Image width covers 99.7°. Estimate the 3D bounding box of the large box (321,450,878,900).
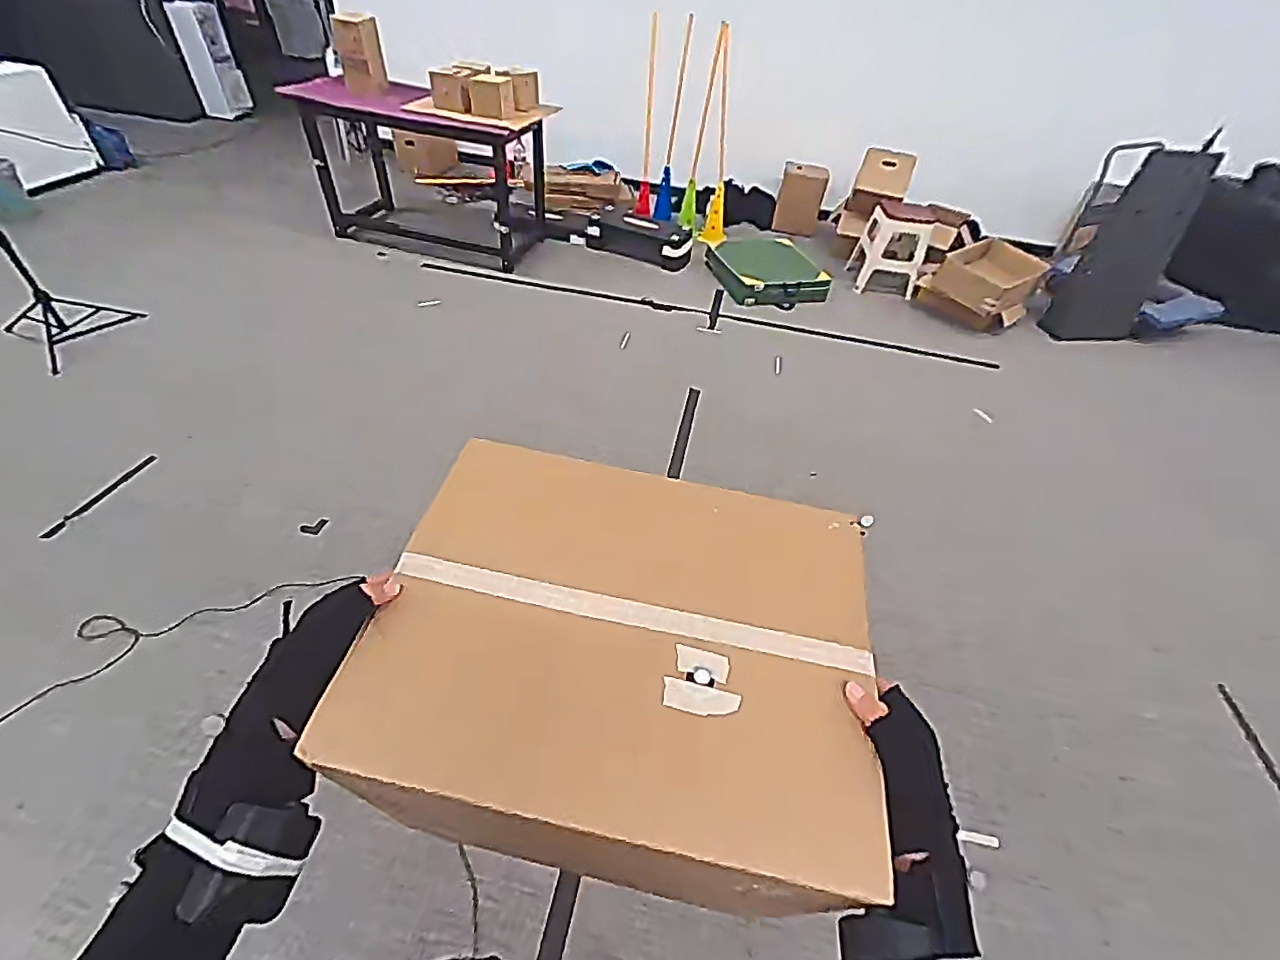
[{"bbox_3d":[-0.022,0.211,0.580,0.408,0.320,0.320,12,50,3],"label":"large box"}]
